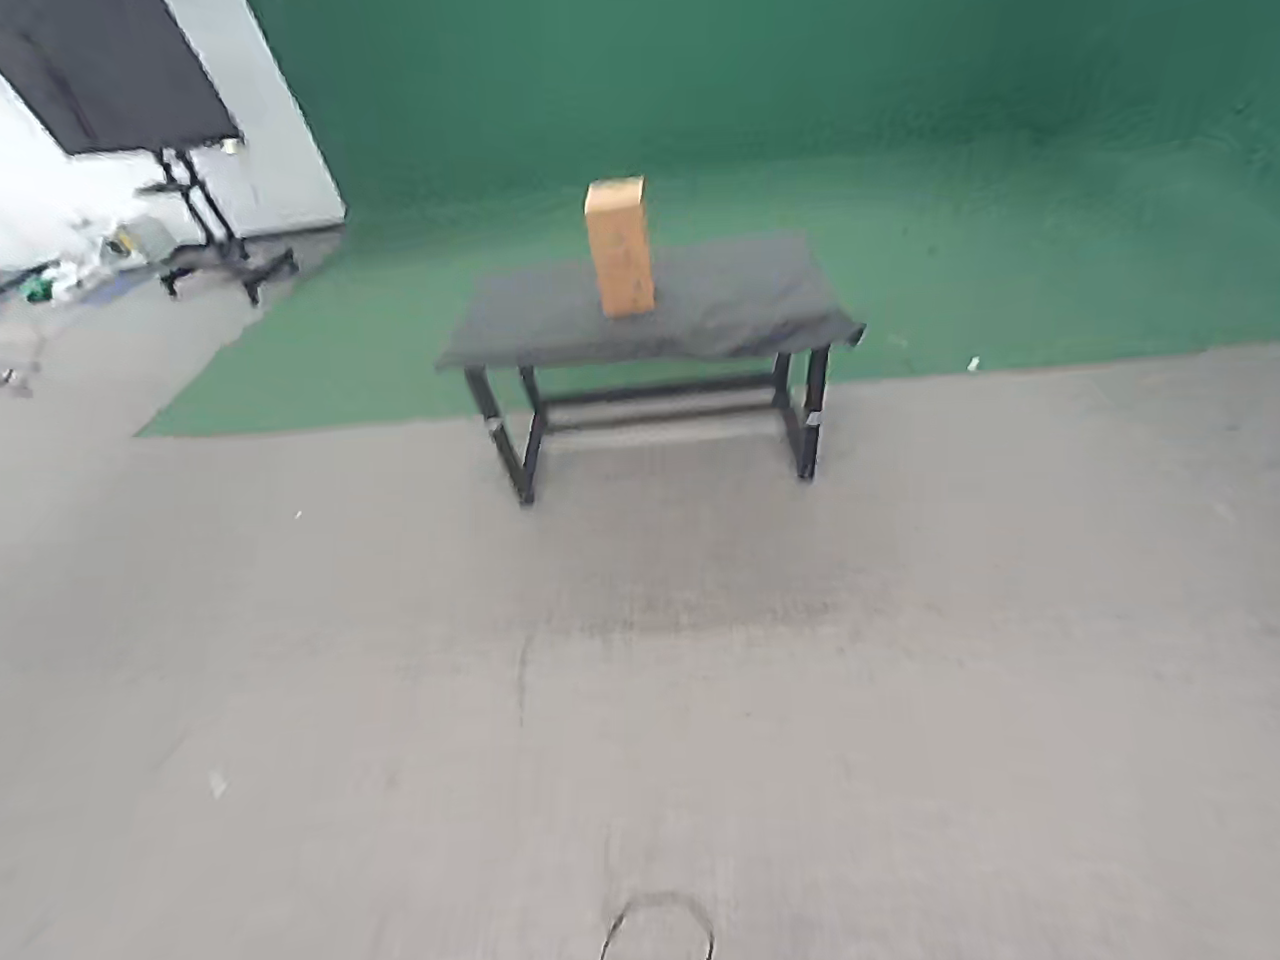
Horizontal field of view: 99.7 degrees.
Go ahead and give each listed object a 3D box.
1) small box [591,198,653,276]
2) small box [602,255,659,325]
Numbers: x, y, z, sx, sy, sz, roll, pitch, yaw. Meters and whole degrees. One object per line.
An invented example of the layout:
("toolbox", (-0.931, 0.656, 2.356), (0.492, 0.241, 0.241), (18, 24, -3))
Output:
("small box", (-0.050, -0.743, 1.667), (0.168, 0.176, 0.179), (-3, 45, 5))
("small box", (-0.027, -0.622, 1.776), (0.168, 0.176, 0.179), (-4, 43, 4))
